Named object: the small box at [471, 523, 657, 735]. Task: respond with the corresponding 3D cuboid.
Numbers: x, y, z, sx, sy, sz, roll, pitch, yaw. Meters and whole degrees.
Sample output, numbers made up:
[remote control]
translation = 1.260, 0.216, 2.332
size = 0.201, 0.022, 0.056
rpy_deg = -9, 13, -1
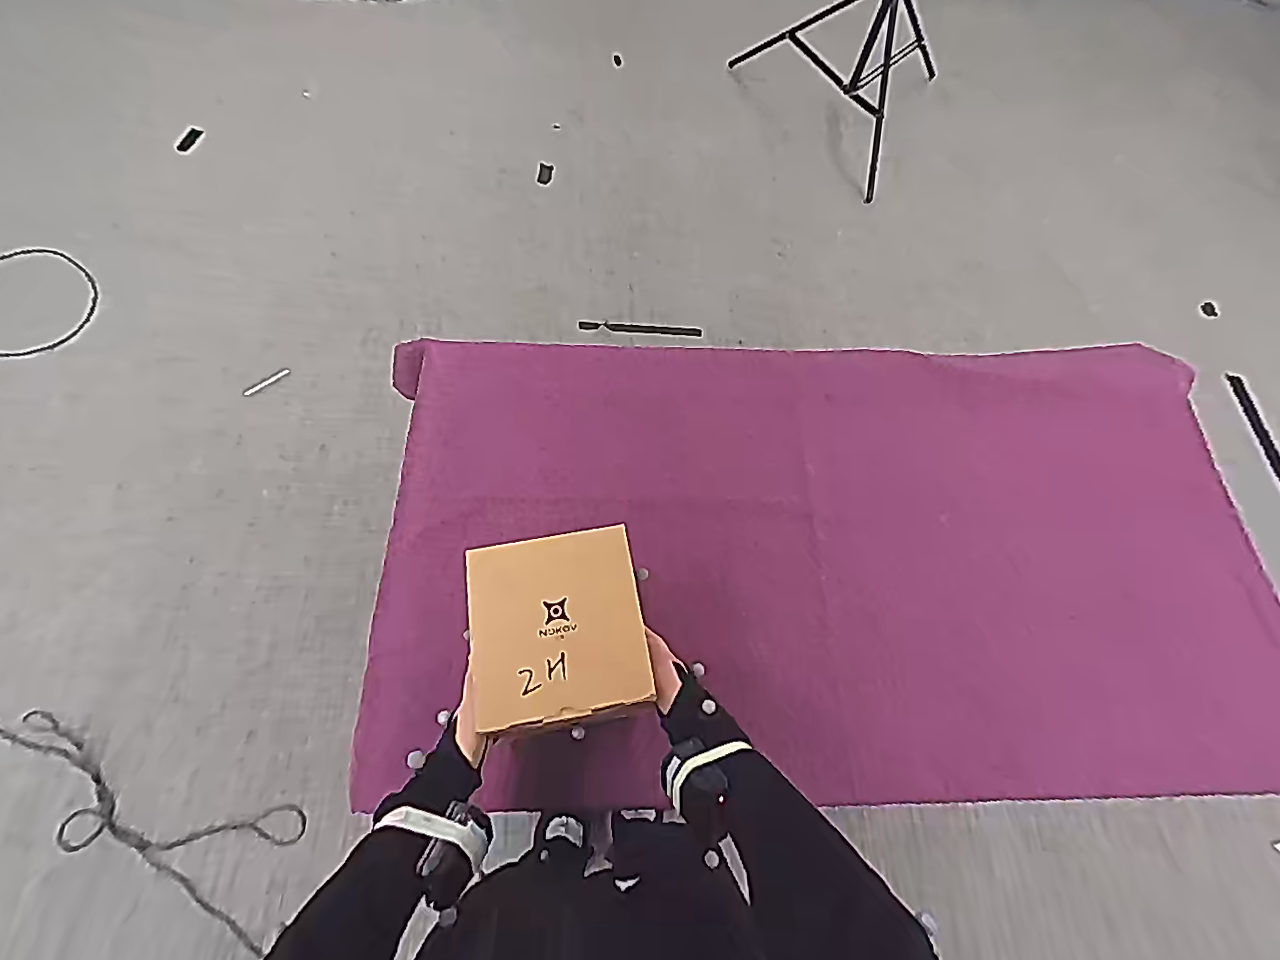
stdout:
[small box]
translation = -0.081, 0.168, 0.590
size = 0.168, 0.176, 0.179
rpy_deg = -9, 64, -5
